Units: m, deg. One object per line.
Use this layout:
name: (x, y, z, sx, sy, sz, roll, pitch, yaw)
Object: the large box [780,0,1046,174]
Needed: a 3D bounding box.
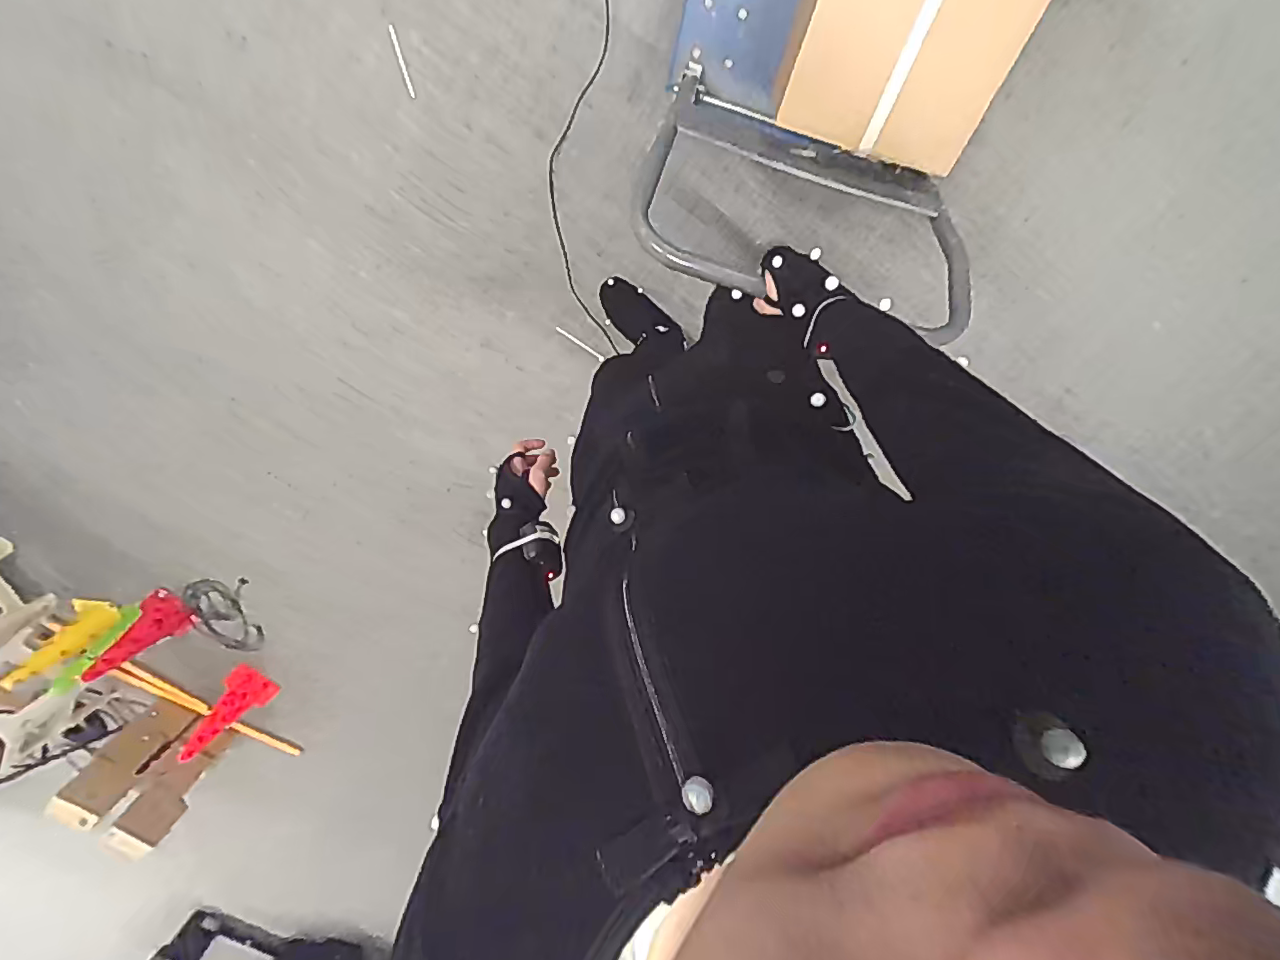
large box: (0.447, -0.797, 0.893, 0.320, 0.320, 0.408, 15, 135, -2)
